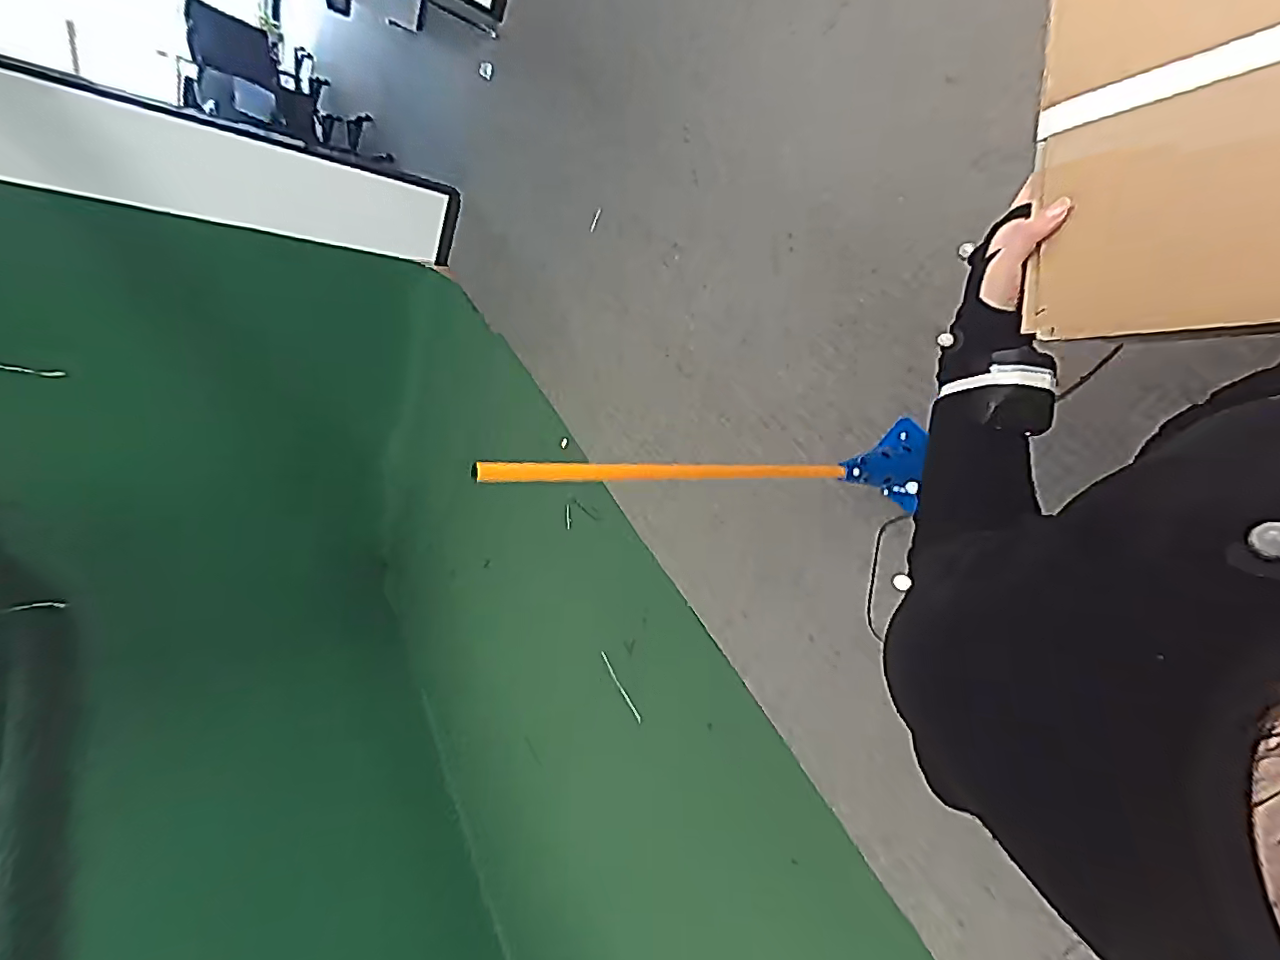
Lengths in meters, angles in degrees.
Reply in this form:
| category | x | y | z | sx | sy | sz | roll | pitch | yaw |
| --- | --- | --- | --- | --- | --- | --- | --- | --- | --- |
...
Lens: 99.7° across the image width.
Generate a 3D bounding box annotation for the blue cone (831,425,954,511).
| category | x | y | z | sx | sy | sz | roll | pitch | yaw |
| --- | --- | --- | --- | --- | --- | --- | --- | --- | --- |
| blue cone | 0.586 | -0.024 | 1.348 | 0.193 | 0.380 | 0.192 | 52 | 128 | 34 |
